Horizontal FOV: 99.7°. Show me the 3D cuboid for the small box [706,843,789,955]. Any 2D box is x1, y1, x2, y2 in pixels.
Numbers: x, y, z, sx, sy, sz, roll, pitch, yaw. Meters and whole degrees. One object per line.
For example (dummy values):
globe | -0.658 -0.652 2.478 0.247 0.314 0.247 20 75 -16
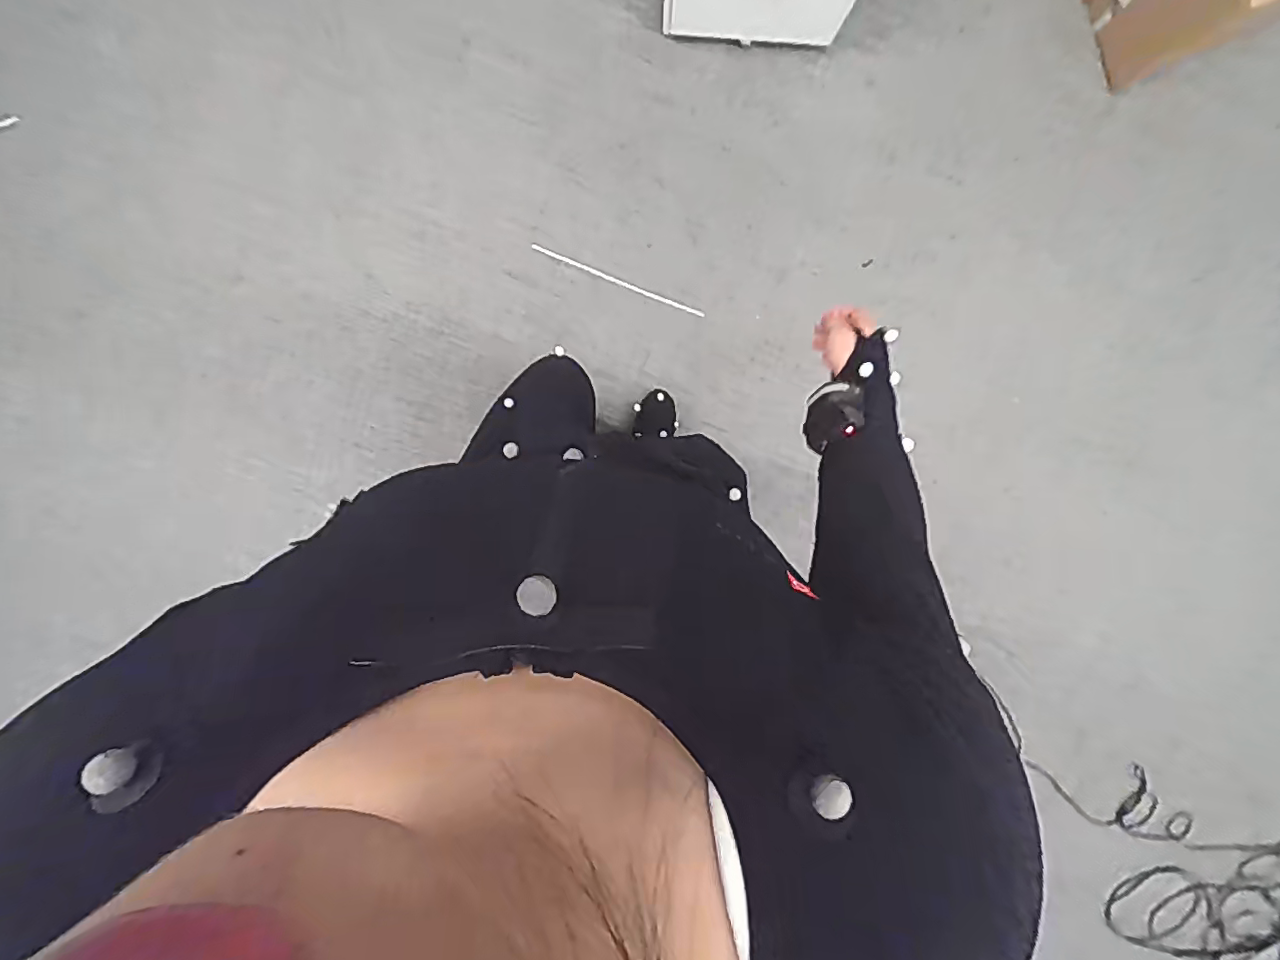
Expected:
small box | 0.314 1.252 1.628 0.168 0.176 0.179 33 97 -5
